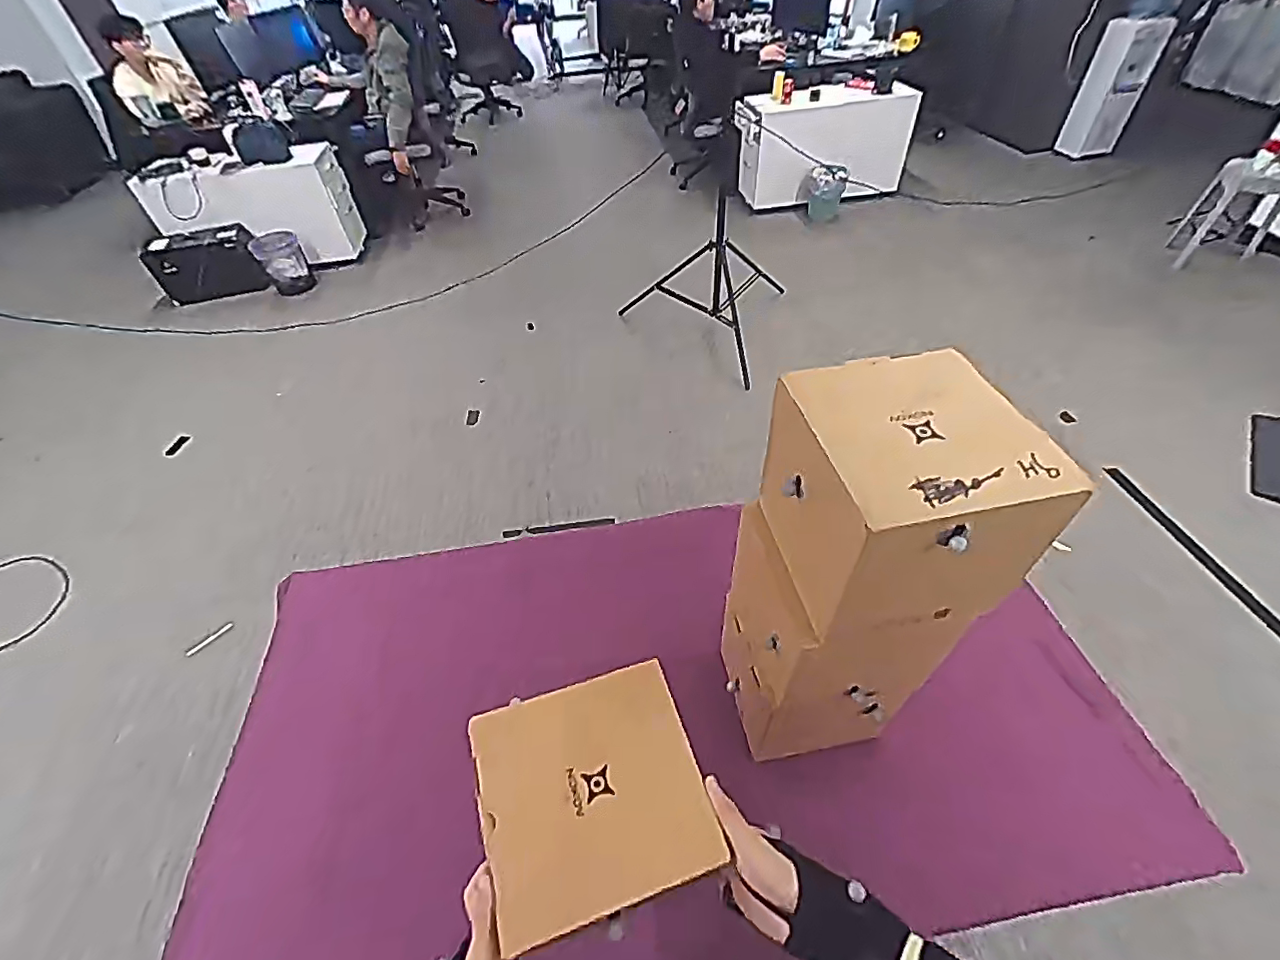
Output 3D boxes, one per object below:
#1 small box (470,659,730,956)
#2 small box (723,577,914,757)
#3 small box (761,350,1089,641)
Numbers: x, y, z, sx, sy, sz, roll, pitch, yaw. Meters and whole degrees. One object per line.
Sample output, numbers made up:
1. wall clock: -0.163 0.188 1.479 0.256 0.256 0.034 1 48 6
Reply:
1. small box: -0.042 0.293 0.494 0.179 0.176 0.168 -14 53 -14
2. small box: 0.215 0.240 0.710 0.179 0.176 0.168 -10 46 -4
3. small box: 0.214 0.013 0.473 0.168 0.176 0.179 -10 47 -4
